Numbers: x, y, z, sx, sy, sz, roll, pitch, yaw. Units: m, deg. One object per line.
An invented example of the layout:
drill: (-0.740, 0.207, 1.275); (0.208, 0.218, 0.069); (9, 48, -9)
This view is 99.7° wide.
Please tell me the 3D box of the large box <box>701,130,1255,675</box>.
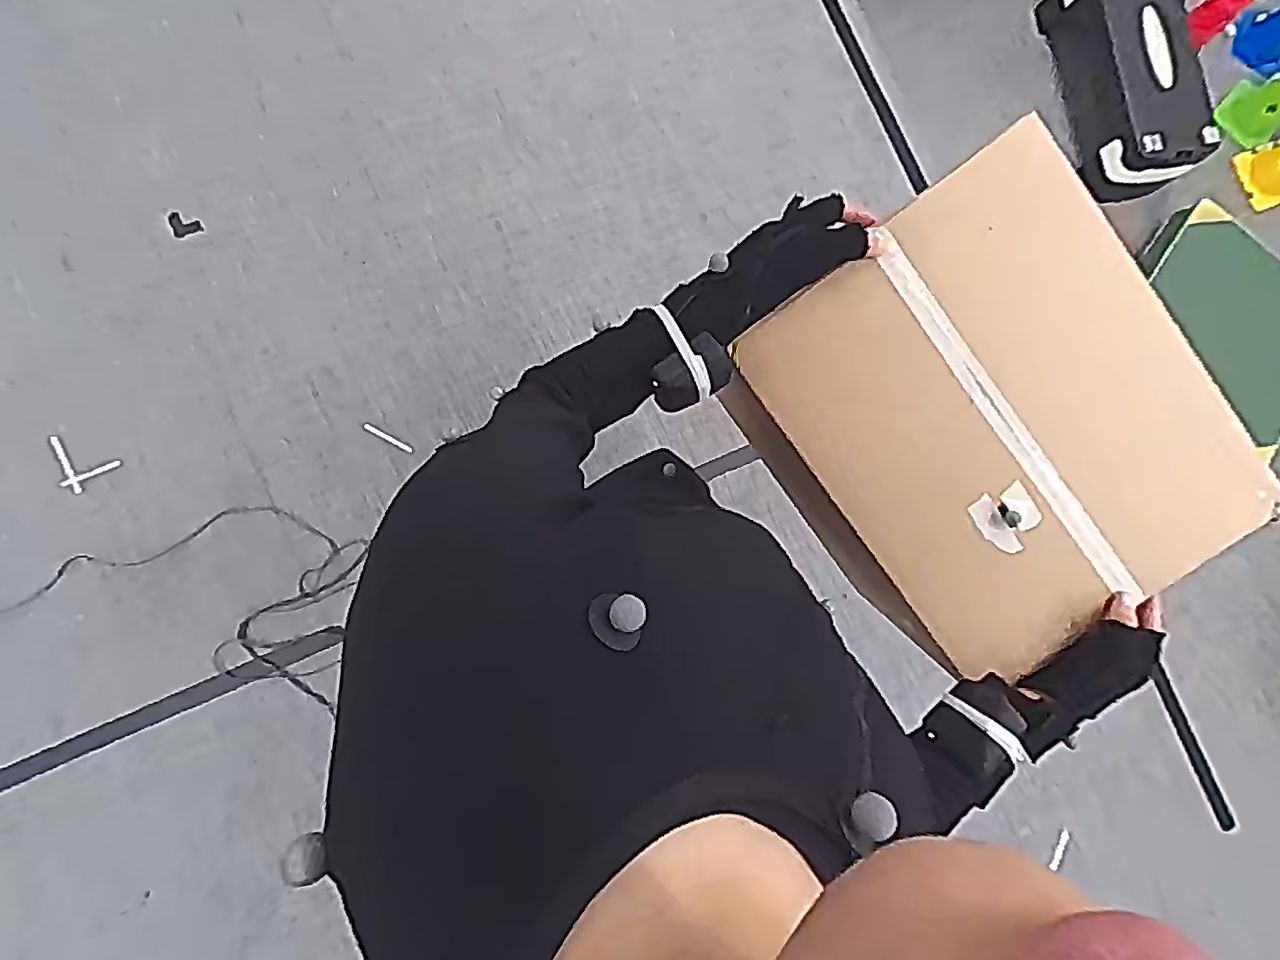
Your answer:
large box: (0.320, -0.075, 0.634); (0.320, 0.320, 0.408); (-37, 95, 7)
